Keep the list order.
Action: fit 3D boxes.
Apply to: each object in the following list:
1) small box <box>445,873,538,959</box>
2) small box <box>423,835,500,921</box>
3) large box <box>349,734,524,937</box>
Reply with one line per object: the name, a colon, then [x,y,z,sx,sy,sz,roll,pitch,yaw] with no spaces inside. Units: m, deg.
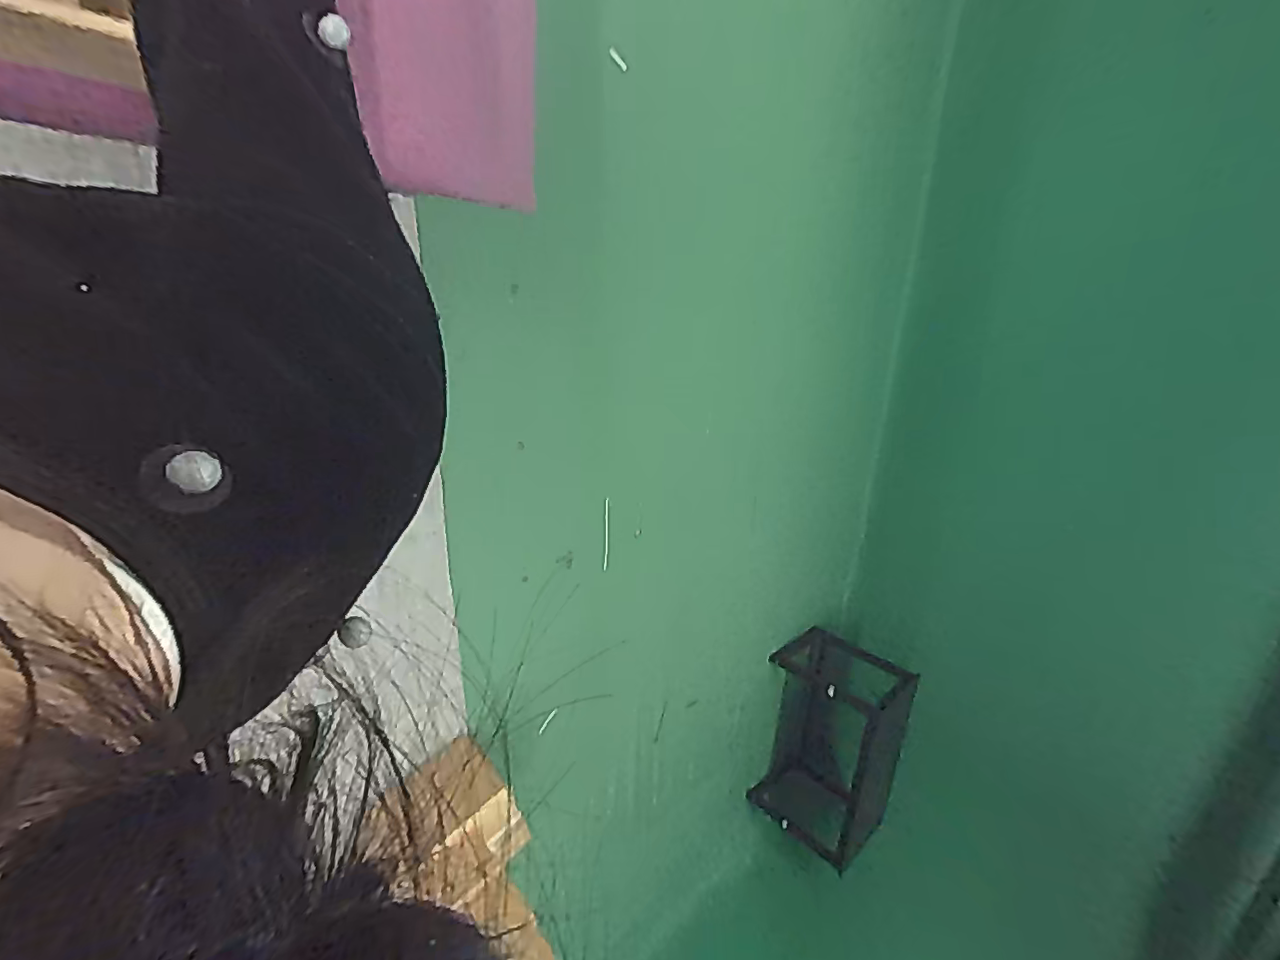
small box: [-0.412,1.256,1.502,0.179,0.176,0.168,-24,121,-37]
small box: [-0.522,1.207,1.611,0.168,0.176,0.179,-25,121,-37]
large box: [-0.669,1.161,1.806,0.408,0.320,0.320,-32,127,-35]
